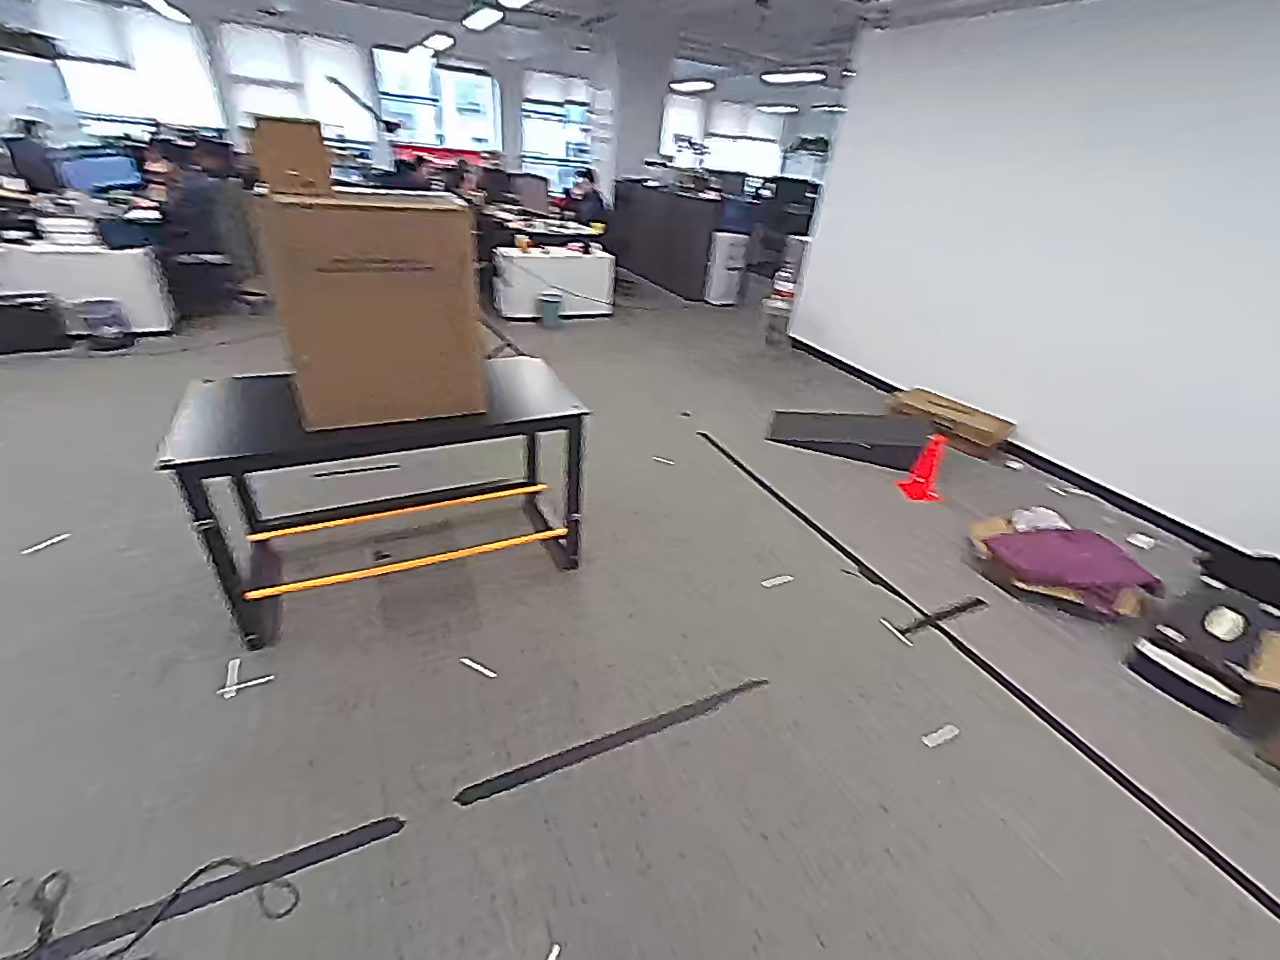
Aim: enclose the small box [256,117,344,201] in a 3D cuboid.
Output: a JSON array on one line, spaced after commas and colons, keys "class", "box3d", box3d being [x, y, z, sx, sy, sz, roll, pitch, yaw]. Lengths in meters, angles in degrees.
[{"class": "small box", "box3d": [-0.899, -0.848, 1.431, 0.168, 0.176, 0.179, -14, 39, -29]}]
